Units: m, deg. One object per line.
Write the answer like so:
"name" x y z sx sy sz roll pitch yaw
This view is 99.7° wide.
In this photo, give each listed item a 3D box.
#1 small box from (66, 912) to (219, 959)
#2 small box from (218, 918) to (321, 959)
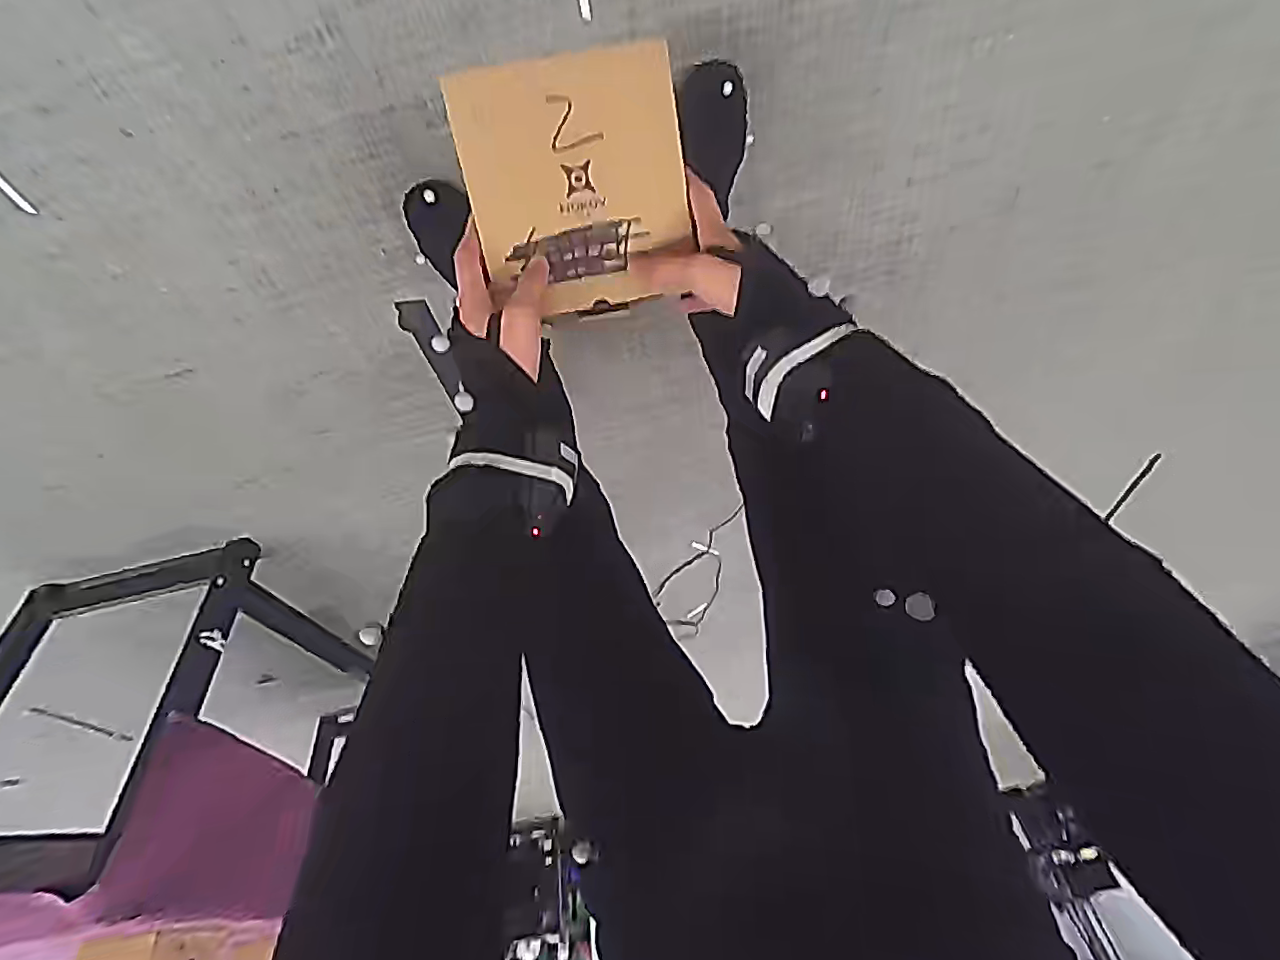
"small box" -0.956 0.939 1.020 0.179 0.176 0.168 -14 141 4
"small box" -0.976 1.265 1.410 0.179 0.176 0.168 -13 141 2
